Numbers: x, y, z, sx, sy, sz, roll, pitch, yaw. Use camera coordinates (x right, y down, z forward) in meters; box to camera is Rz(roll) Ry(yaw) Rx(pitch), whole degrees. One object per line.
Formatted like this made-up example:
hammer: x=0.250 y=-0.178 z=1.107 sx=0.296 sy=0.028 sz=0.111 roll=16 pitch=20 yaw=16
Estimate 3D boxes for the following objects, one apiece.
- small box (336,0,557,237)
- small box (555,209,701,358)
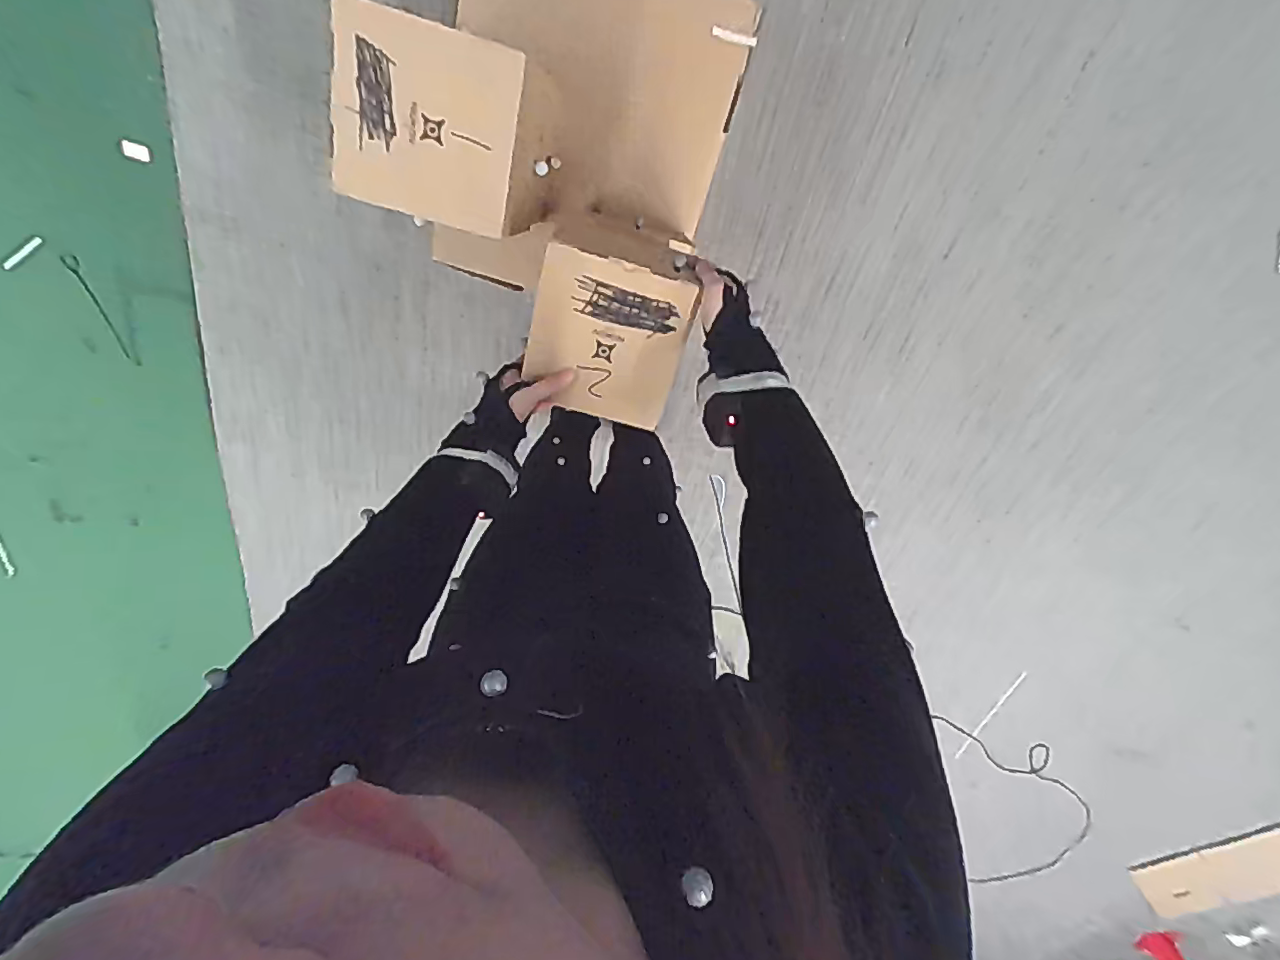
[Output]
small box: x=-0.201 y=-0.377 z=0.588 sx=0.179 sy=0.176 sz=0.168 roll=13 pitch=118 yaw=-7
small box: x=-0.022 y=-0.303 z=0.822 sx=0.179 sy=0.176 sz=0.168 roll=12 pitch=118 yaw=-7
